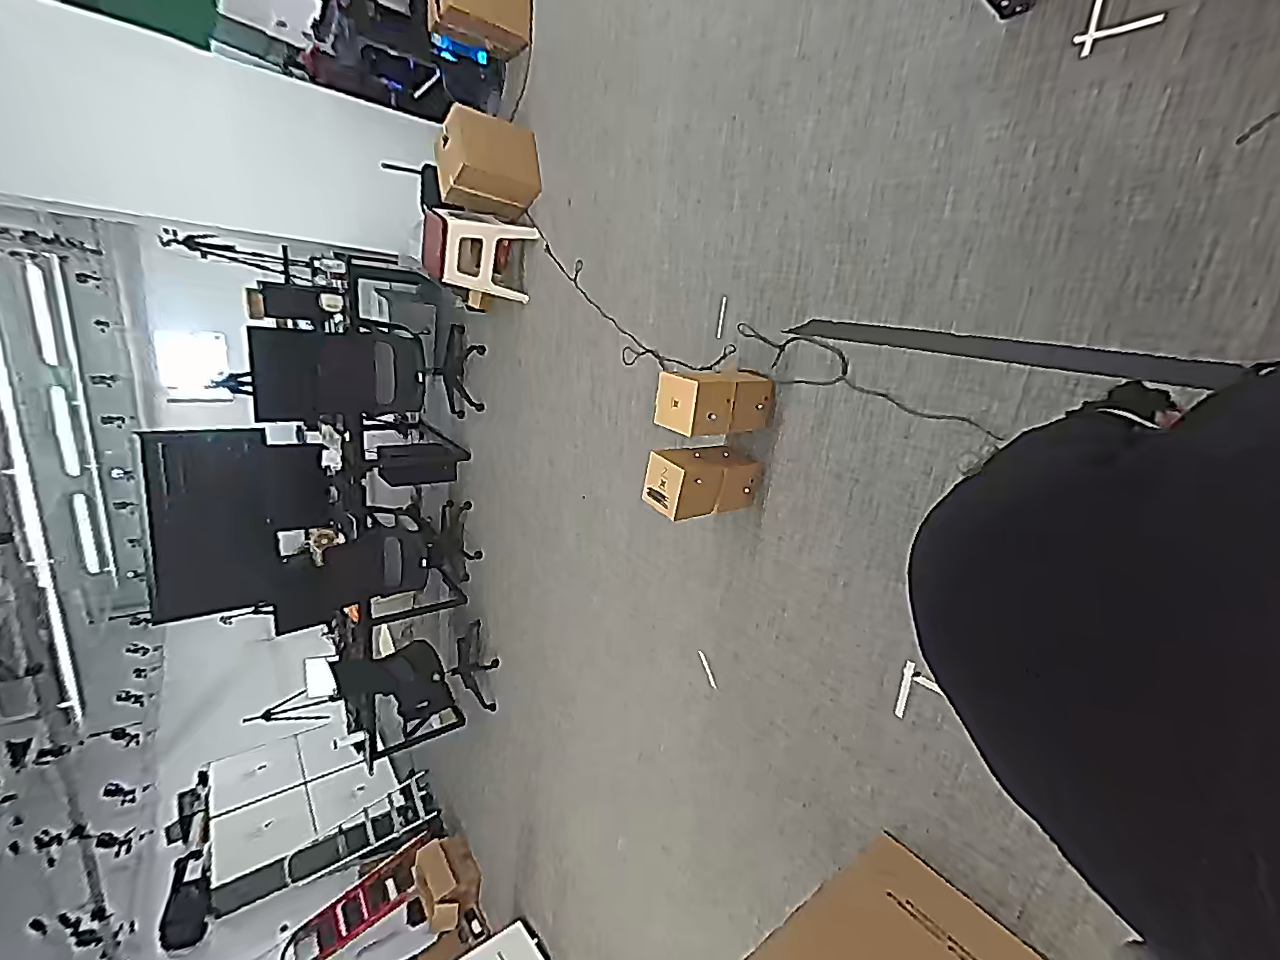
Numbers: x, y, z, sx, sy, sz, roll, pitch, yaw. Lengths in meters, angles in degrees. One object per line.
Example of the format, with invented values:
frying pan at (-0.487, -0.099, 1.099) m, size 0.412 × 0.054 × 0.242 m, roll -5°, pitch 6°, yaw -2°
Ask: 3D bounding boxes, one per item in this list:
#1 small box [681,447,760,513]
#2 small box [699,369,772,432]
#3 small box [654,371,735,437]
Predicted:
small box at (0.270, -0.007, 1.815) m, size 0.179 × 0.176 × 0.168 m, roll 34°, pitch 122°, yaw 43°
small box at (0.294, -0.260, 1.738) m, size 0.179 × 0.176 × 0.168 m, roll 28°, pitch 119°, yaw 46°
small box at (0.166, -0.238, 1.641) m, size 0.179 × 0.176 × 0.168 m, roll 28°, pitch 119°, yaw 47°
